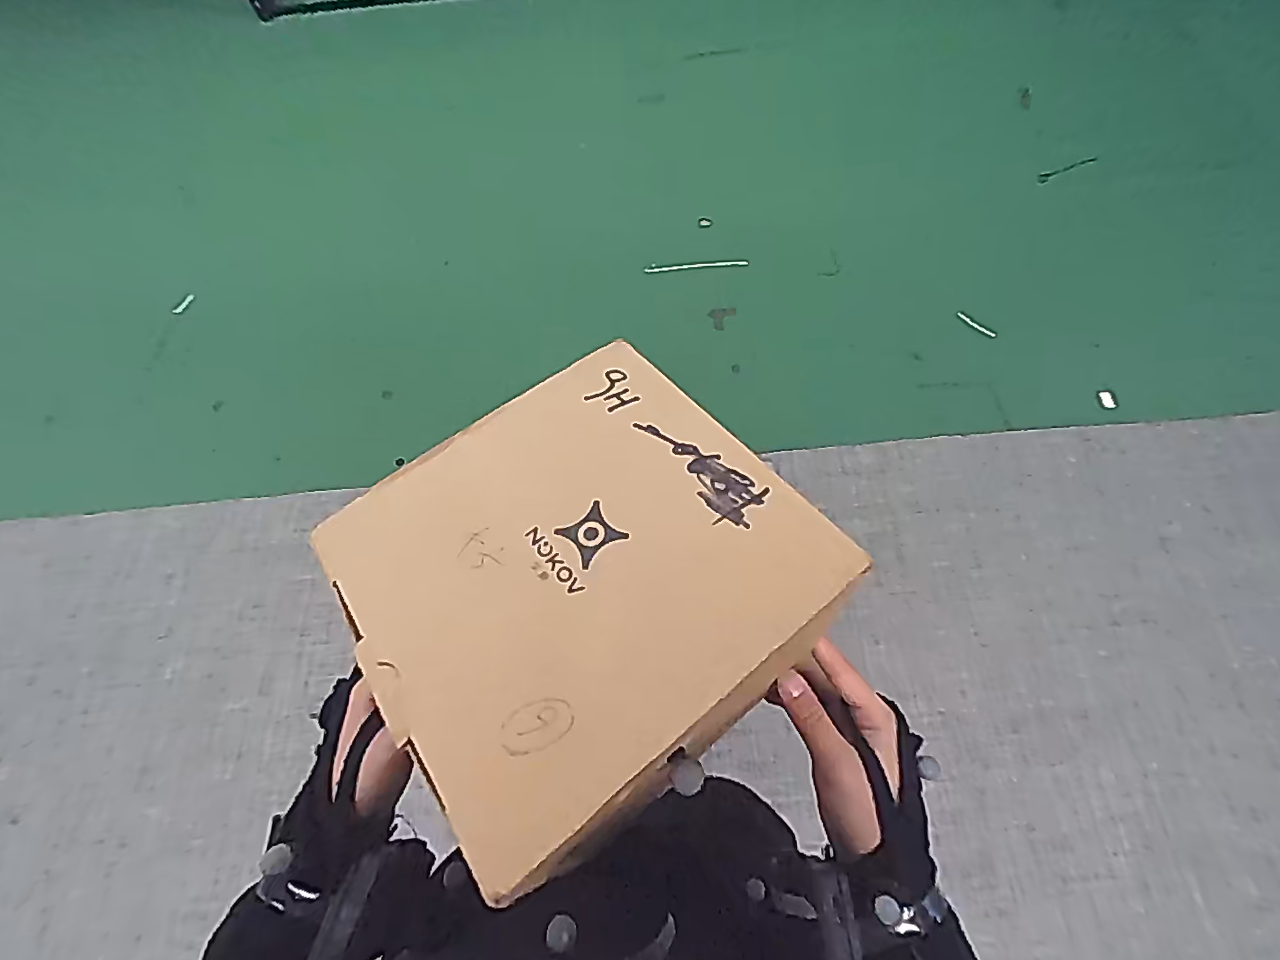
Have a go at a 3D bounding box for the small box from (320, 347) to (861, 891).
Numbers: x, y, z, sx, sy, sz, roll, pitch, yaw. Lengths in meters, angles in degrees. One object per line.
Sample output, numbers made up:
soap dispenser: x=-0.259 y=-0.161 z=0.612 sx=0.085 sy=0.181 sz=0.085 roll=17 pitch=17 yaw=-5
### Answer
small box: x=-0.019 y=0.071 z=0.291 sx=0.179 sy=0.176 sz=0.168 roll=-35 pitch=61 yaw=-15
